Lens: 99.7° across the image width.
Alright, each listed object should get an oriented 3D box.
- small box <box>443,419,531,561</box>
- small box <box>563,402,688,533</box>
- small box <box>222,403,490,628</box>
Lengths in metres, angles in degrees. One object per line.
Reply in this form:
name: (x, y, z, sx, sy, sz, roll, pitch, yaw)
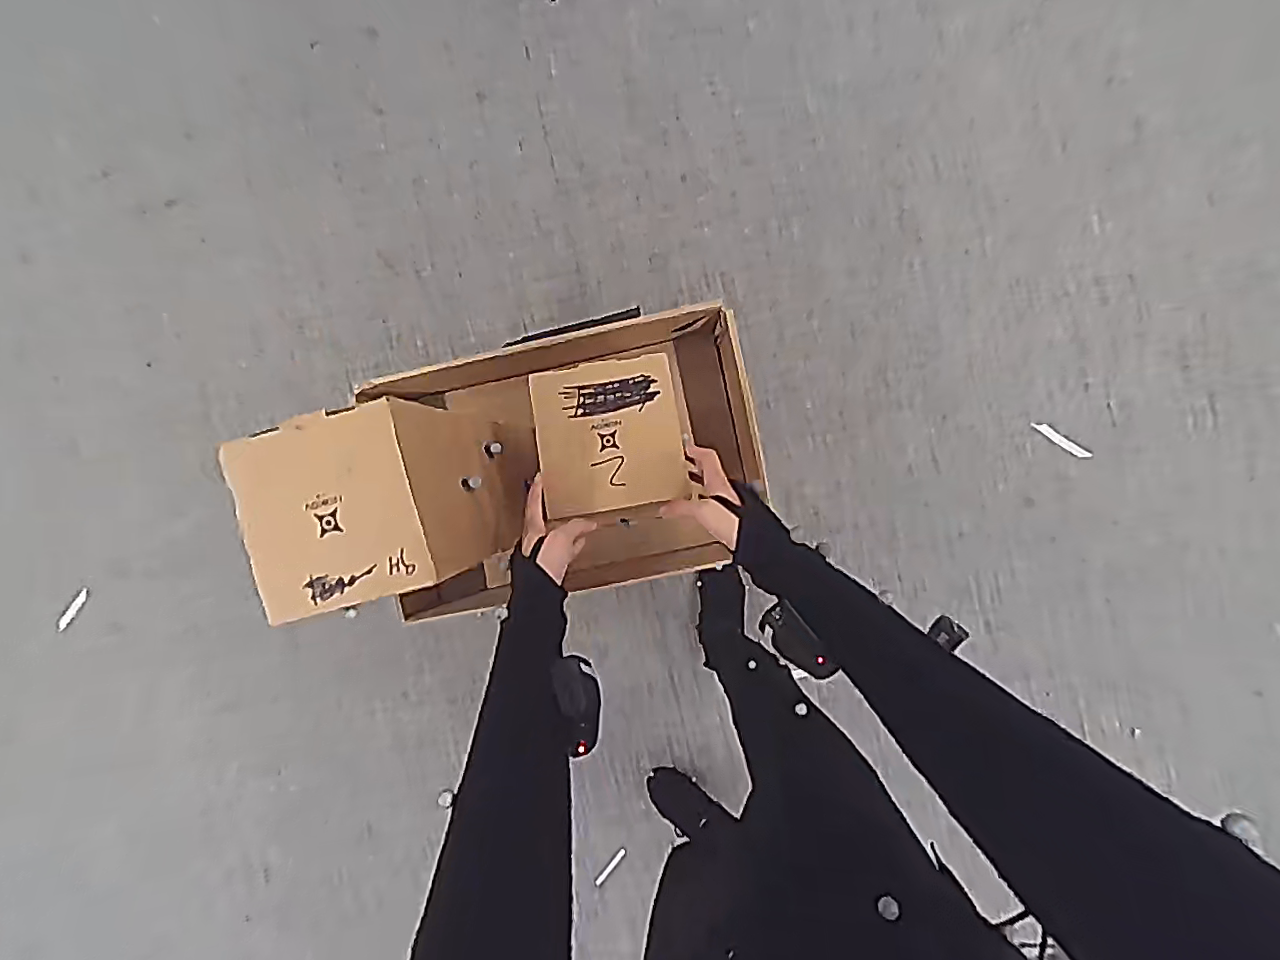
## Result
small box: (-0.262, 0.027, 0.731, 0.168, 0.176, 0.179, -15, 91, 4)
small box: (-0.019, -0.019, 0.882, 0.168, 0.176, 0.179, -10, 92, 4)
small box: (-0.278, 0.033, 0.567, 0.168, 0.176, 0.179, -15, 90, 4)
